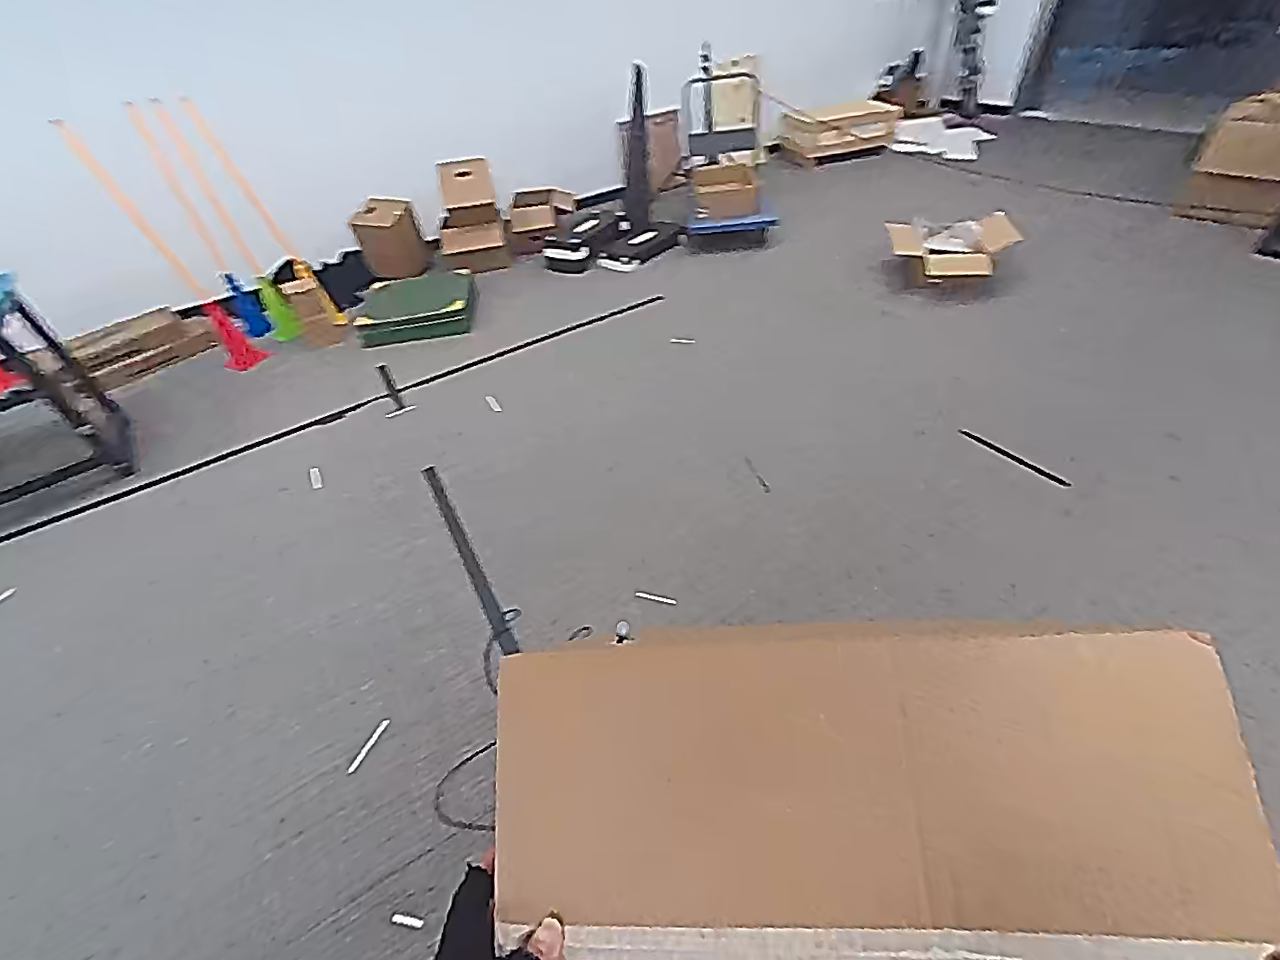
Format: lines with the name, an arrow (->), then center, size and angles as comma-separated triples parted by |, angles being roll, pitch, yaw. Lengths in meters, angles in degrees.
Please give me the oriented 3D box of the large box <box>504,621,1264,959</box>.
large box -> 0.136, 0.288, 0.440 | 0.408, 0.320, 0.320 | -6, 77, 7
